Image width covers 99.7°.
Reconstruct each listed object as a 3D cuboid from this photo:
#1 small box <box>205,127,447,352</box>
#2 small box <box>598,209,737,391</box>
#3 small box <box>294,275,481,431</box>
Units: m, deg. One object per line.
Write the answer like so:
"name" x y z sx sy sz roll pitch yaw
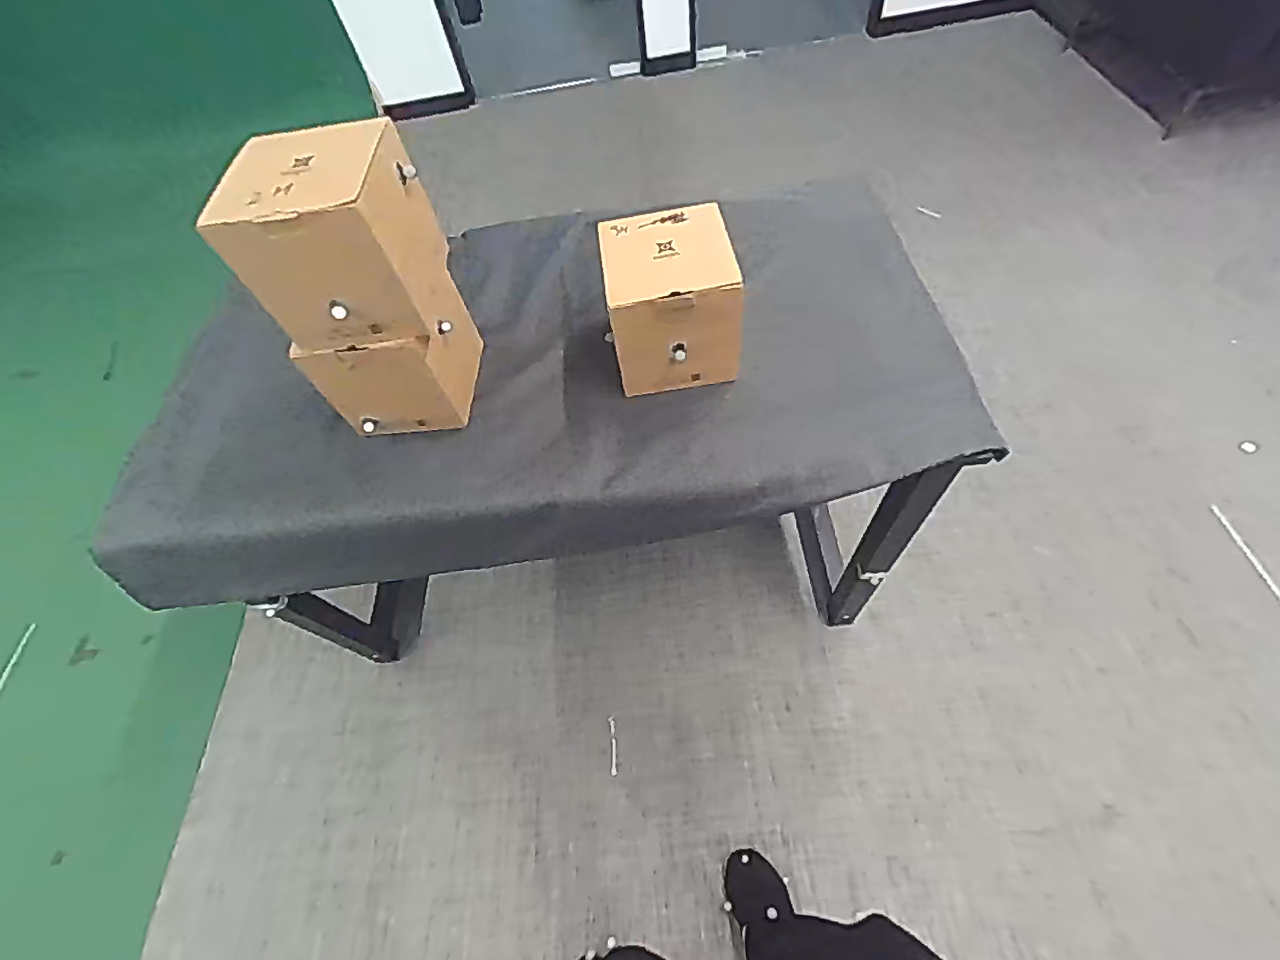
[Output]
"small box" -0.346 -0.279 0.641 0.168 0.176 0.179 -7 57 4
"small box" 0.040 -0.241 0.761 0.168 0.176 0.179 -9 58 2
"small box" -0.342 -0.183 0.776 0.168 0.176 0.179 -4 57 5
